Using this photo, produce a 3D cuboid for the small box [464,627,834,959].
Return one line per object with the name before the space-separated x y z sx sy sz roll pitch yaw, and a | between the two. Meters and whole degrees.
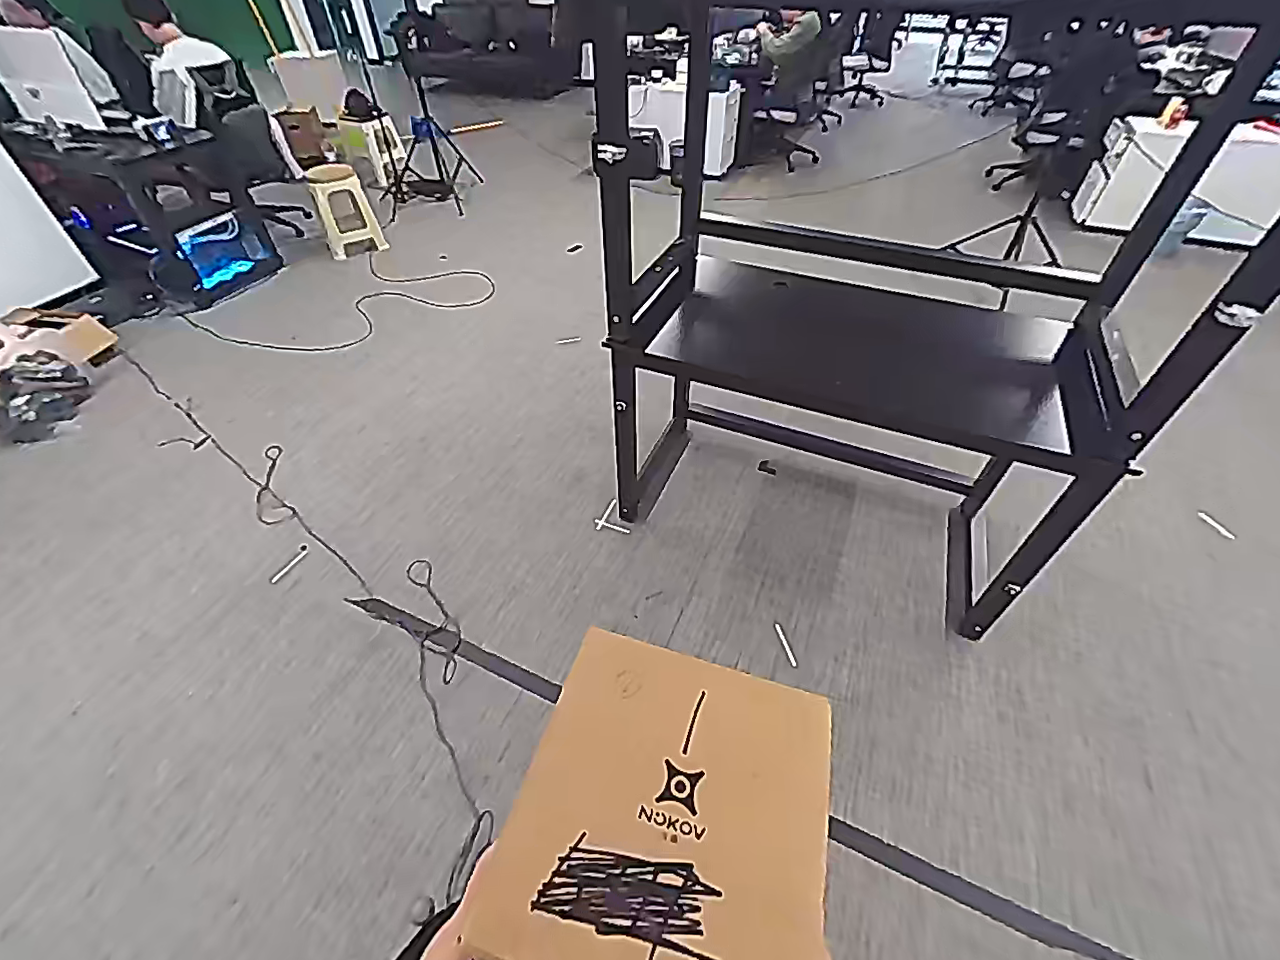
small box | 0.015 0.233 0.350 0.168 0.176 0.179 15 44 10
